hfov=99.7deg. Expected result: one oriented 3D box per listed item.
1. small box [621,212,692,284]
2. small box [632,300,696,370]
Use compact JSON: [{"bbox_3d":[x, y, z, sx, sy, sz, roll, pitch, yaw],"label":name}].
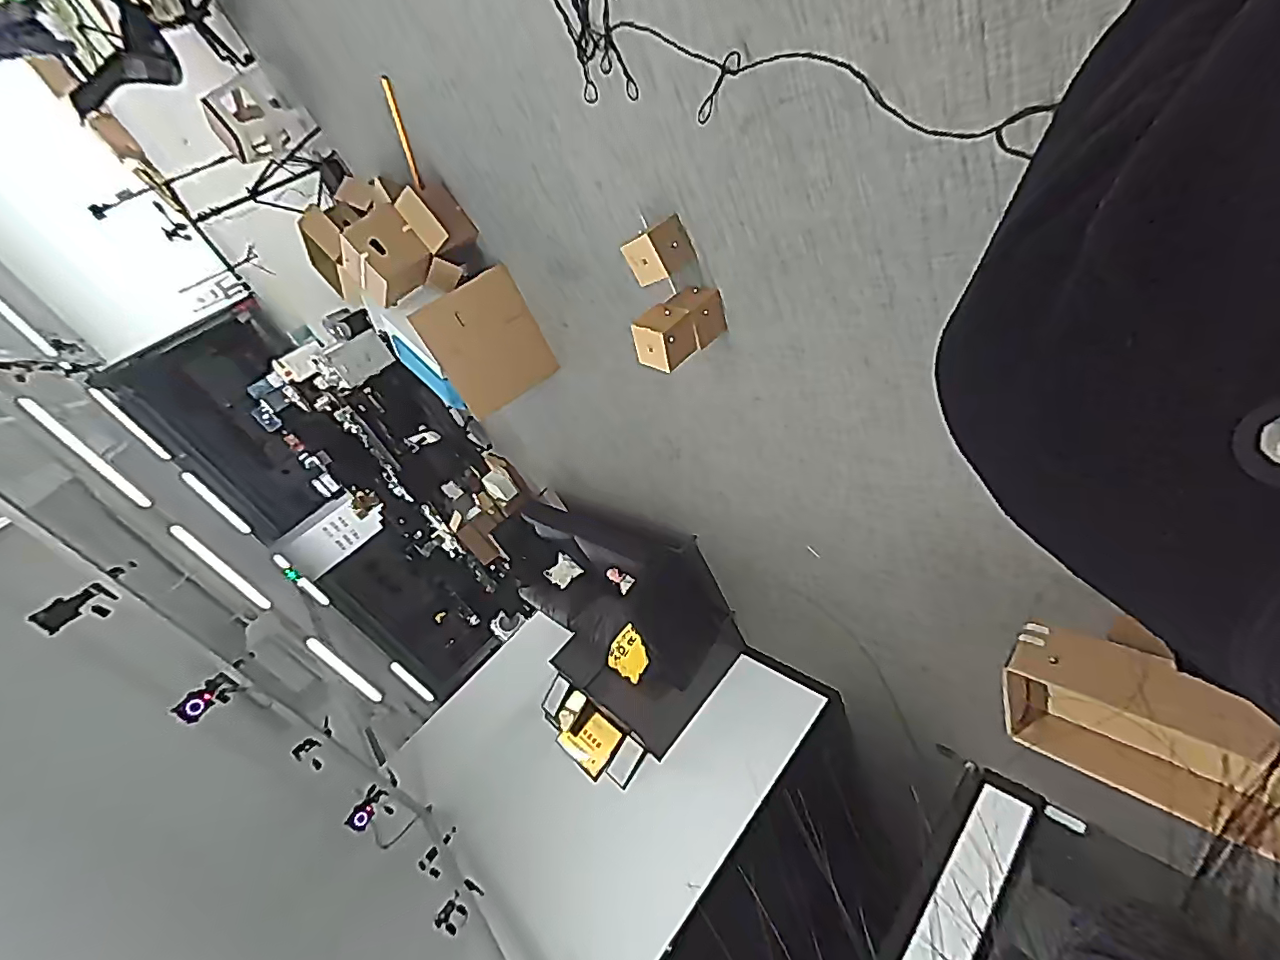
[{"bbox_3d":[0.070,-0.862,2.009,0.179,0.176,0.168,7,136,55],"label":"small box"},{"bbox_3d":[0.098,-0.553,2.059,0.168,0.176,0.179,28,150,36],"label":"small box"}]
